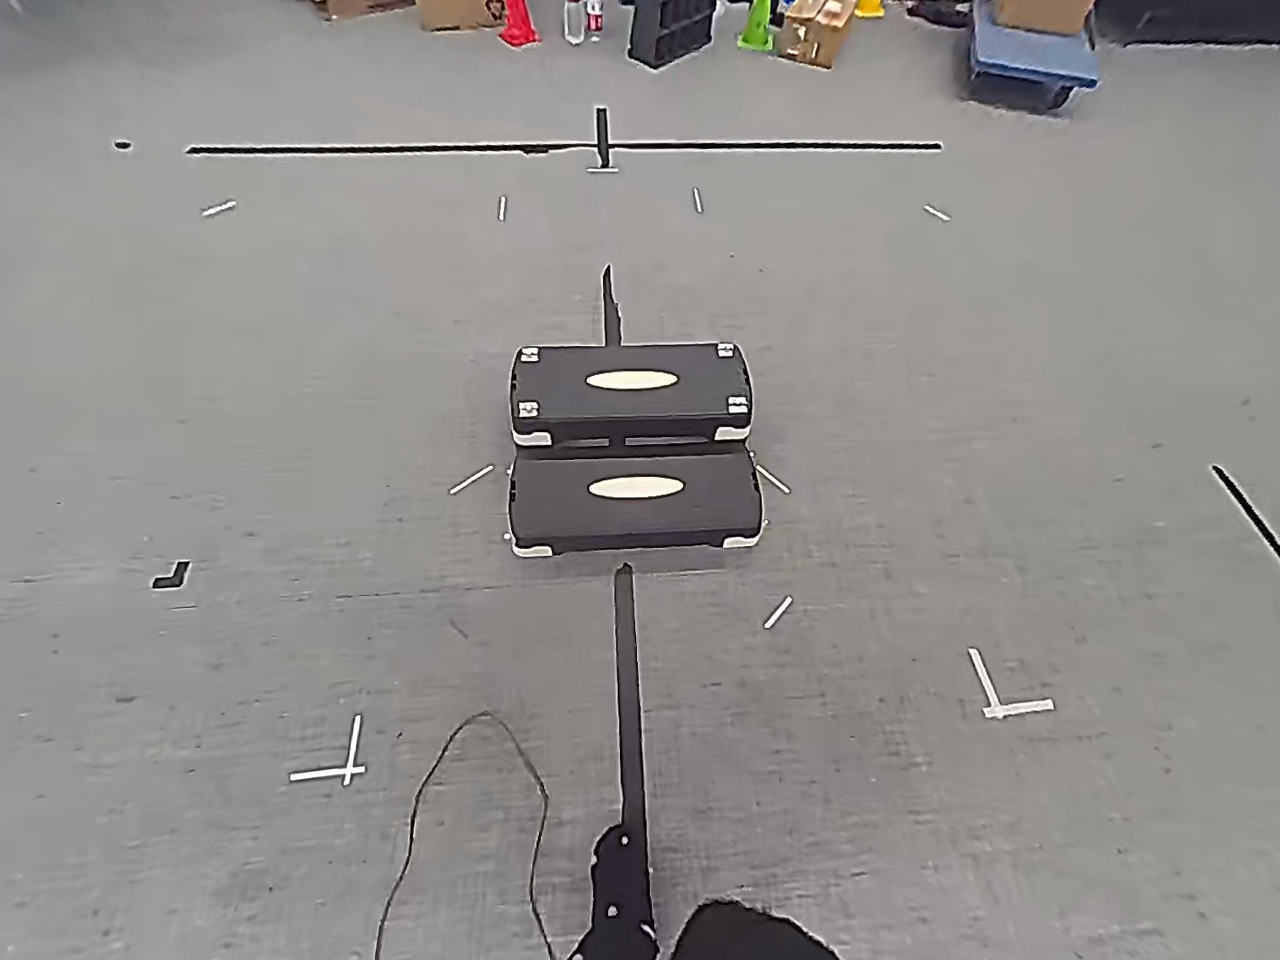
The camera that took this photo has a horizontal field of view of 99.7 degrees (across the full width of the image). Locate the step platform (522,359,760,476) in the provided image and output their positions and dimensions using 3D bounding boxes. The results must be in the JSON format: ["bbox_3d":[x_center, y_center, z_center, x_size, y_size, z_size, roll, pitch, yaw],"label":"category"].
[{"bbox_3d":[0.002,-0.186,1.582,0.684,0.204,0.286,2,58,-2],"label":"step platform"}]
